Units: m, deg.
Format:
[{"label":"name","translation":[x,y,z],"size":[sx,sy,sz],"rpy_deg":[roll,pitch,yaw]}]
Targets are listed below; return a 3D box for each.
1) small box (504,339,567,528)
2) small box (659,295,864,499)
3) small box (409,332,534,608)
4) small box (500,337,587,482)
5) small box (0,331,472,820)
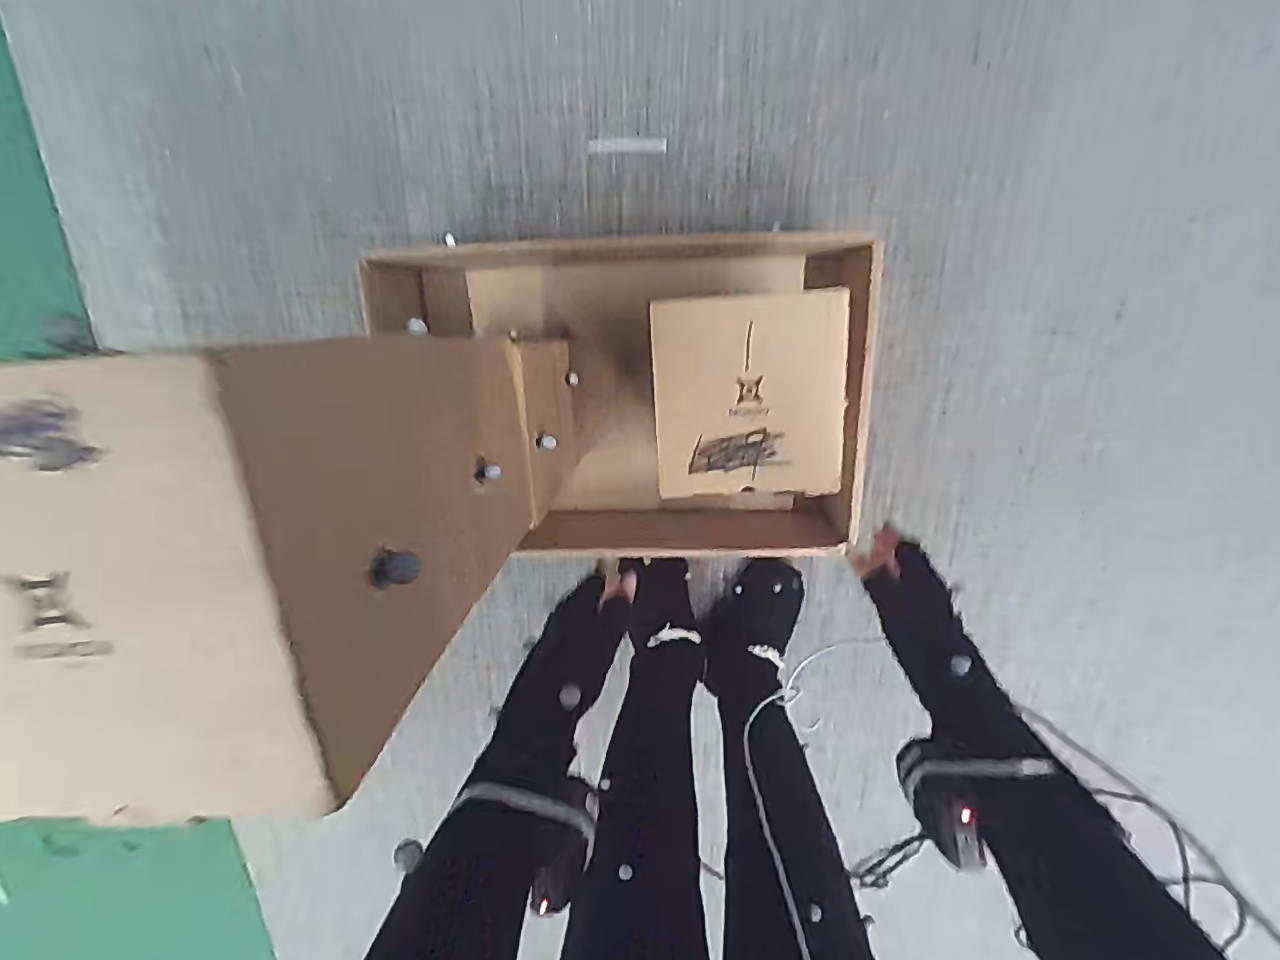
[{"label":"small box","translation":[-0.176,-0.059,0.577],"size":[0.168,0.176,0.179],"rpy_deg":[-1,107,3]},{"label":"small box","translation":[0.105,-0.091,0.541],"size":[0.168,0.176,0.179],"rpy_deg":[1,107,3]},{"label":"small box","translation":[-0.187,-0.018,0.419],"size":[0.168,0.176,0.179],"rpy_deg":[-3,106,3]},{"label":"small box","translation":[-0.167,-0.103,0.733],"size":[0.168,0.176,0.179],"rpy_deg":[0,107,4]},{"label":"small box","translation":[-0.195,0.026,0.262],"size":[0.168,0.176,0.179],"rpy_deg":[-3,107,2]}]
